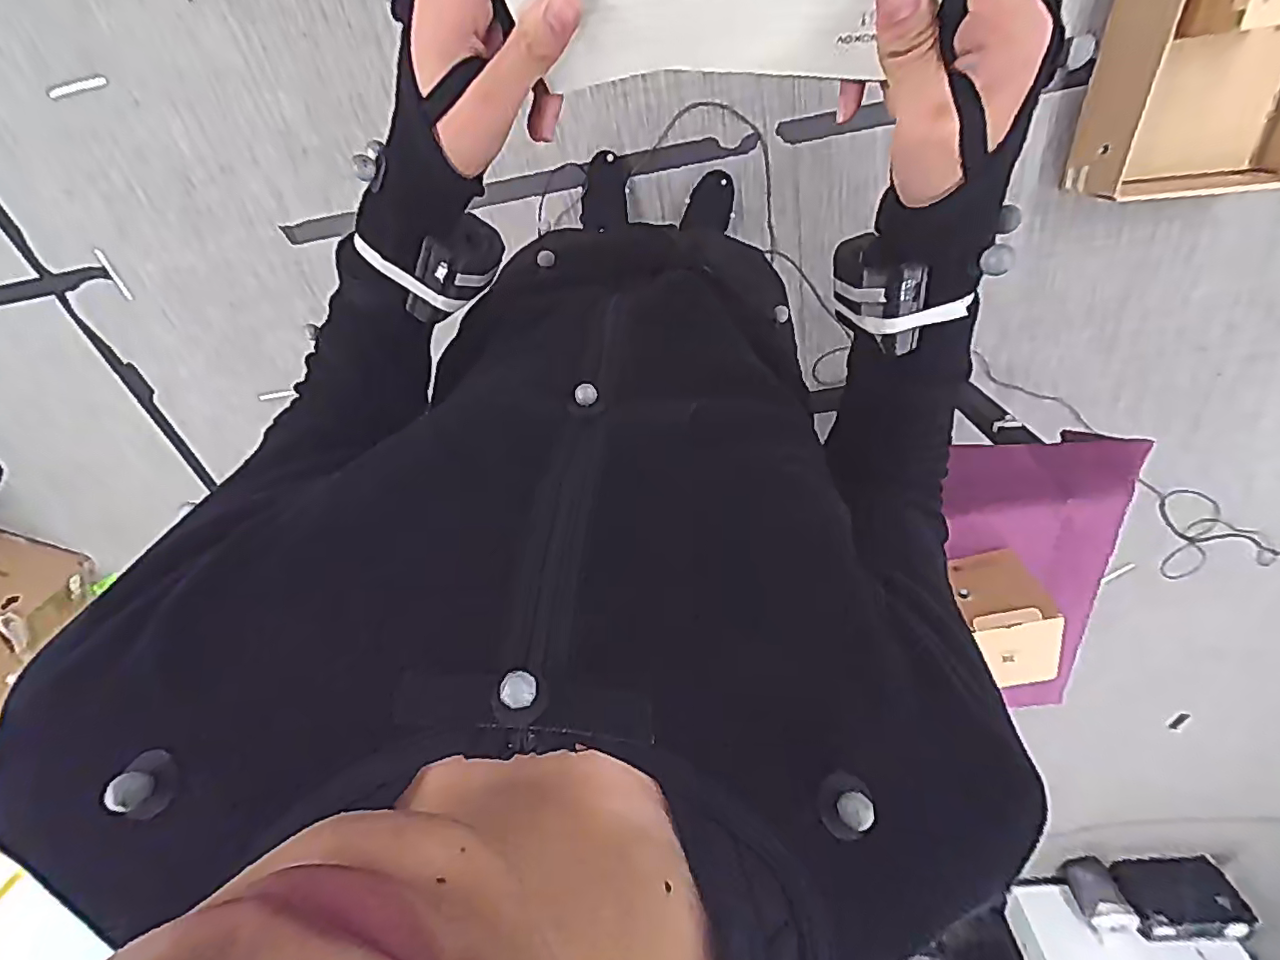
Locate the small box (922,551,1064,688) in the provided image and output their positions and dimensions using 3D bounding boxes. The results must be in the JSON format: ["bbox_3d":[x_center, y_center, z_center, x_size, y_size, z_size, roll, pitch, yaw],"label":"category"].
[{"bbox_3d":[0.639,0.250,0.999,0.168,0.176,0.179,-15,123,13],"label":"small box"}]
